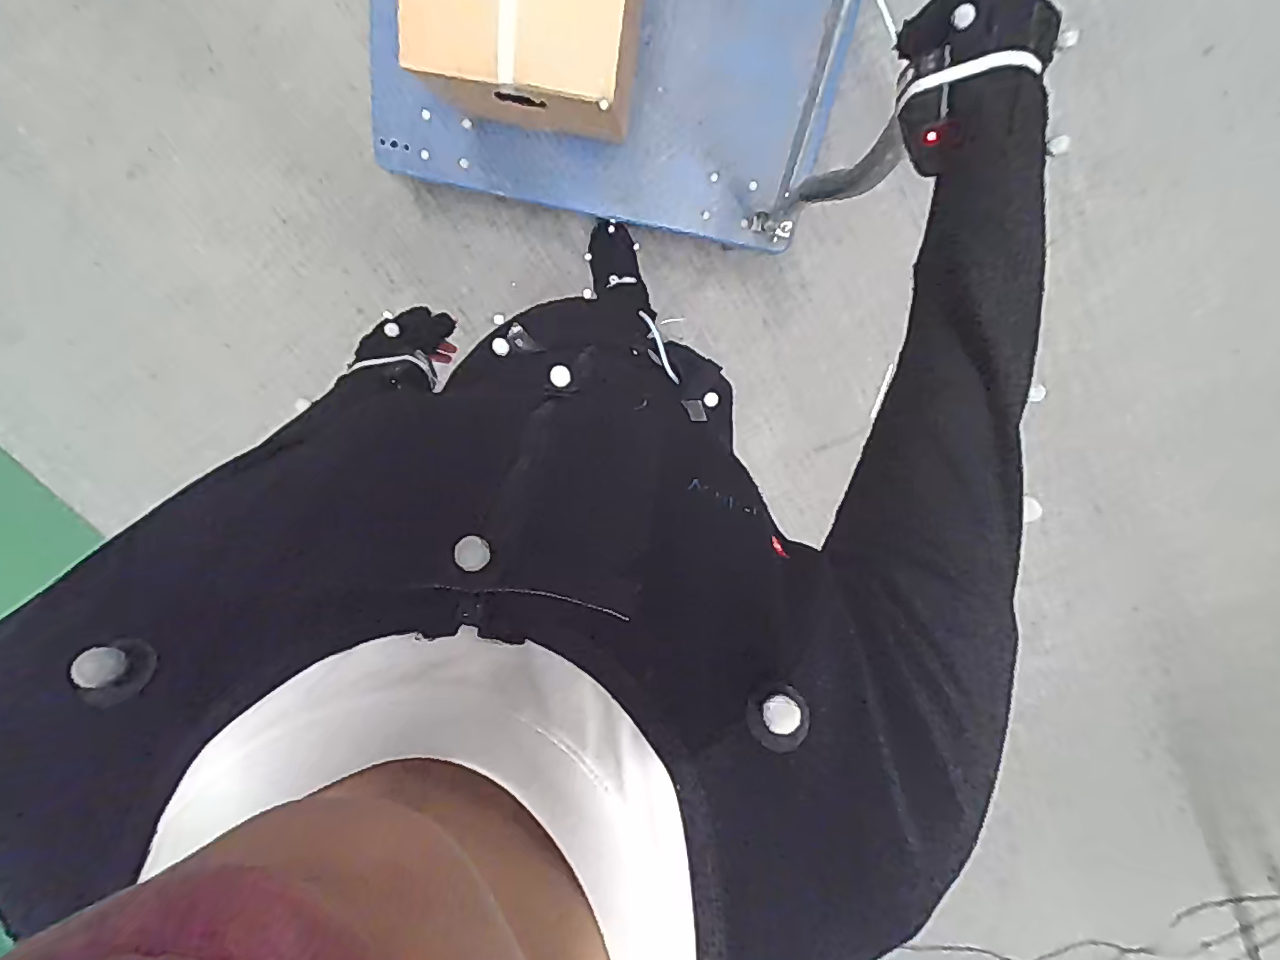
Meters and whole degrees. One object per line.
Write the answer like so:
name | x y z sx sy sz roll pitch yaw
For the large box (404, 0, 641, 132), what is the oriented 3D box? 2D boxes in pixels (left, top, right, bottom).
large box | -0.153 -0.820 0.836 0.320 0.320 0.408 10 114 -1
